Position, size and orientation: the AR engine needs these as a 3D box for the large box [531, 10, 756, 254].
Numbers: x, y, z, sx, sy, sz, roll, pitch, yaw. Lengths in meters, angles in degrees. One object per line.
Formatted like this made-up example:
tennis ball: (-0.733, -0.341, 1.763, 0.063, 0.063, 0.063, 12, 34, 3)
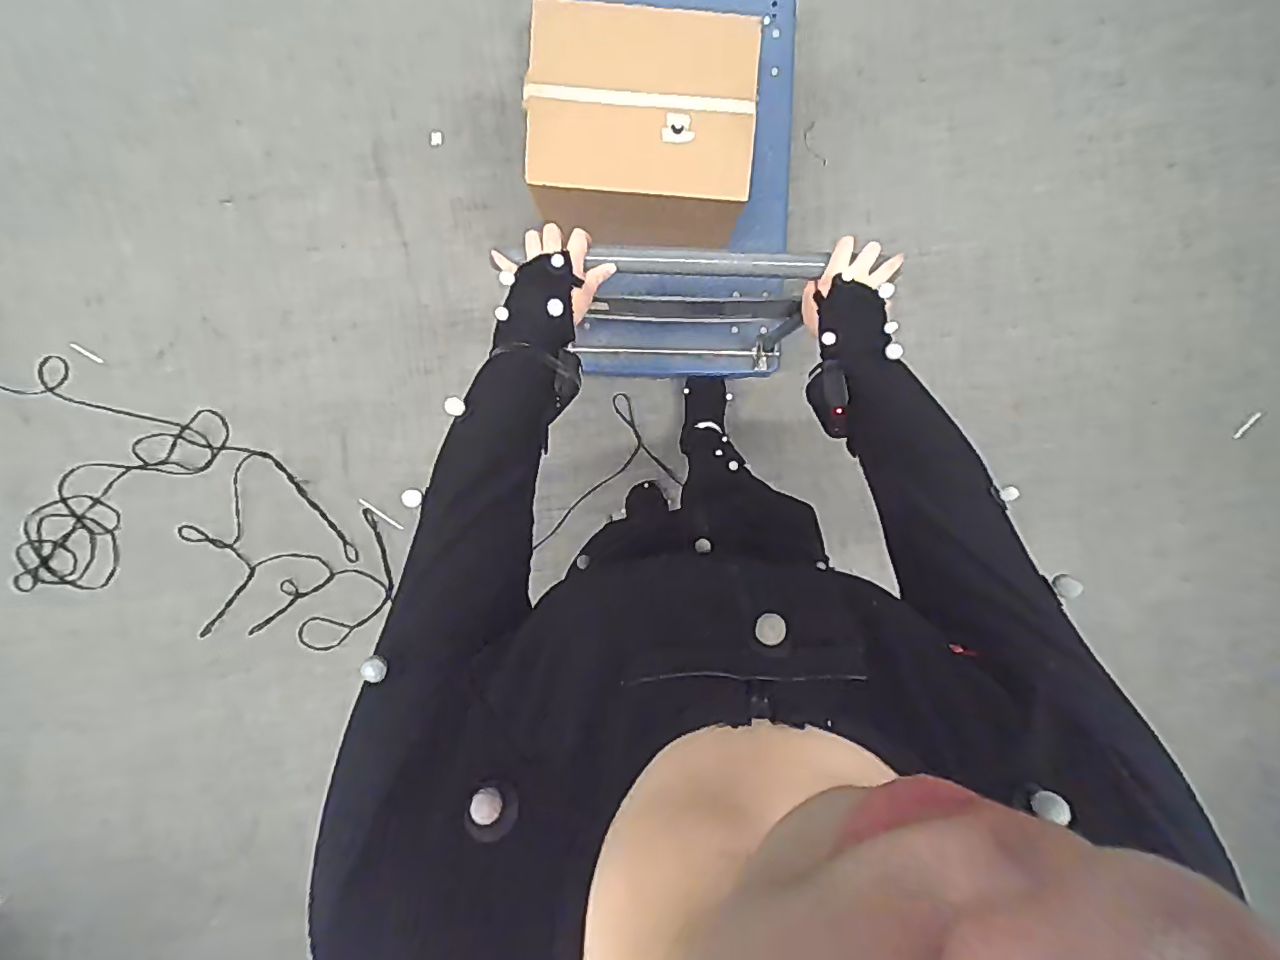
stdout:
large box: (-0.001, -0.687, 1.126, 0.408, 0.320, 0.320, 3, 95, -2)
